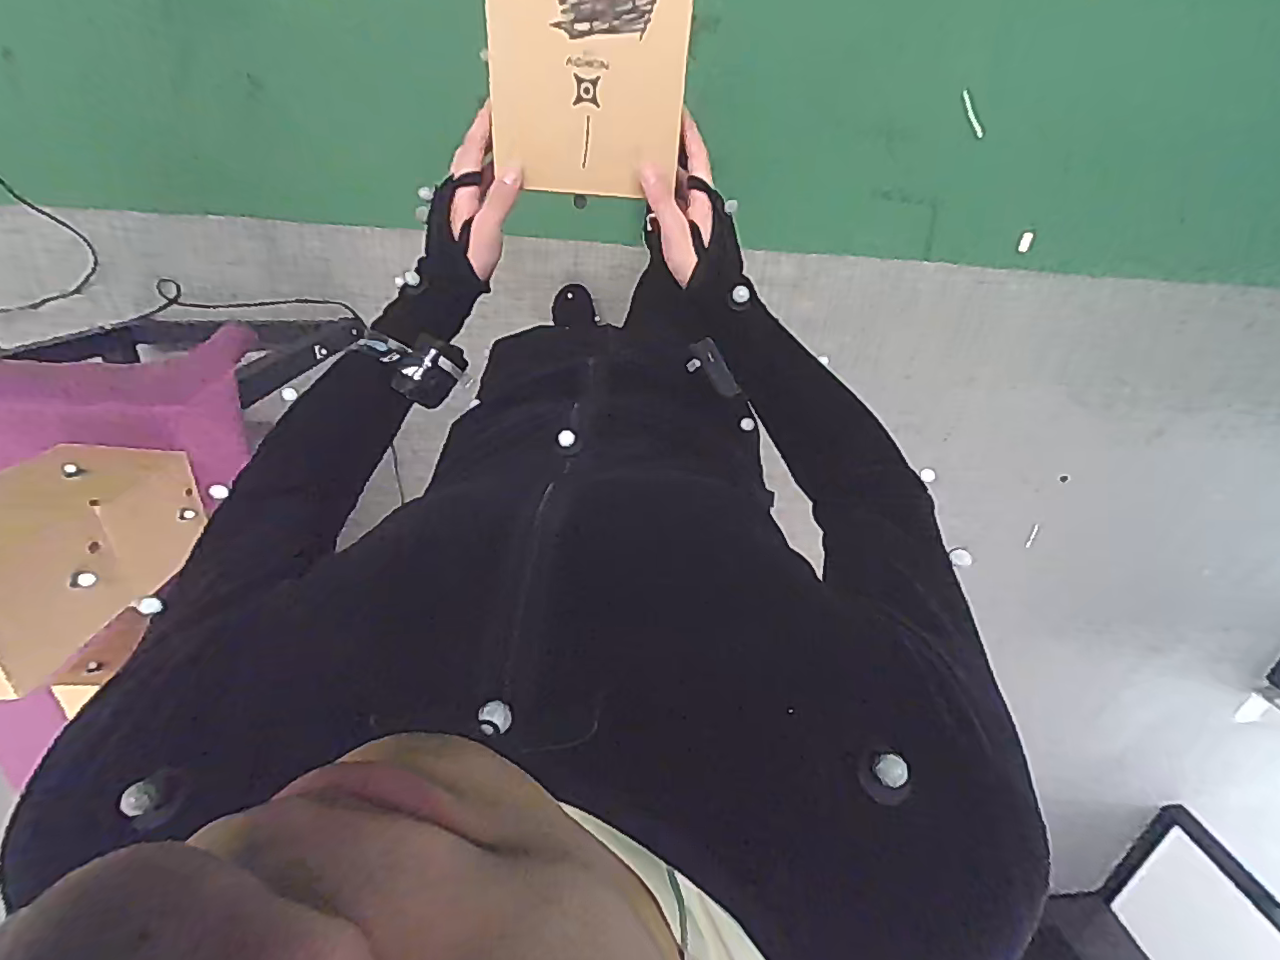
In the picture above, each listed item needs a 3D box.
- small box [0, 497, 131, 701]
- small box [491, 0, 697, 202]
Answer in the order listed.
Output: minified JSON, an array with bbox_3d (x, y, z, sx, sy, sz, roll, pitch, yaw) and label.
[{"bbox_3d":[-0.766,0.130,0.625,0.179,0.176,0.168,2,118,-5],"label":"small box"},{"bbox_3d":[-0.048,-0.376,0.522,0.168,0.176,0.179,1,120,-6],"label":"small box"}]
